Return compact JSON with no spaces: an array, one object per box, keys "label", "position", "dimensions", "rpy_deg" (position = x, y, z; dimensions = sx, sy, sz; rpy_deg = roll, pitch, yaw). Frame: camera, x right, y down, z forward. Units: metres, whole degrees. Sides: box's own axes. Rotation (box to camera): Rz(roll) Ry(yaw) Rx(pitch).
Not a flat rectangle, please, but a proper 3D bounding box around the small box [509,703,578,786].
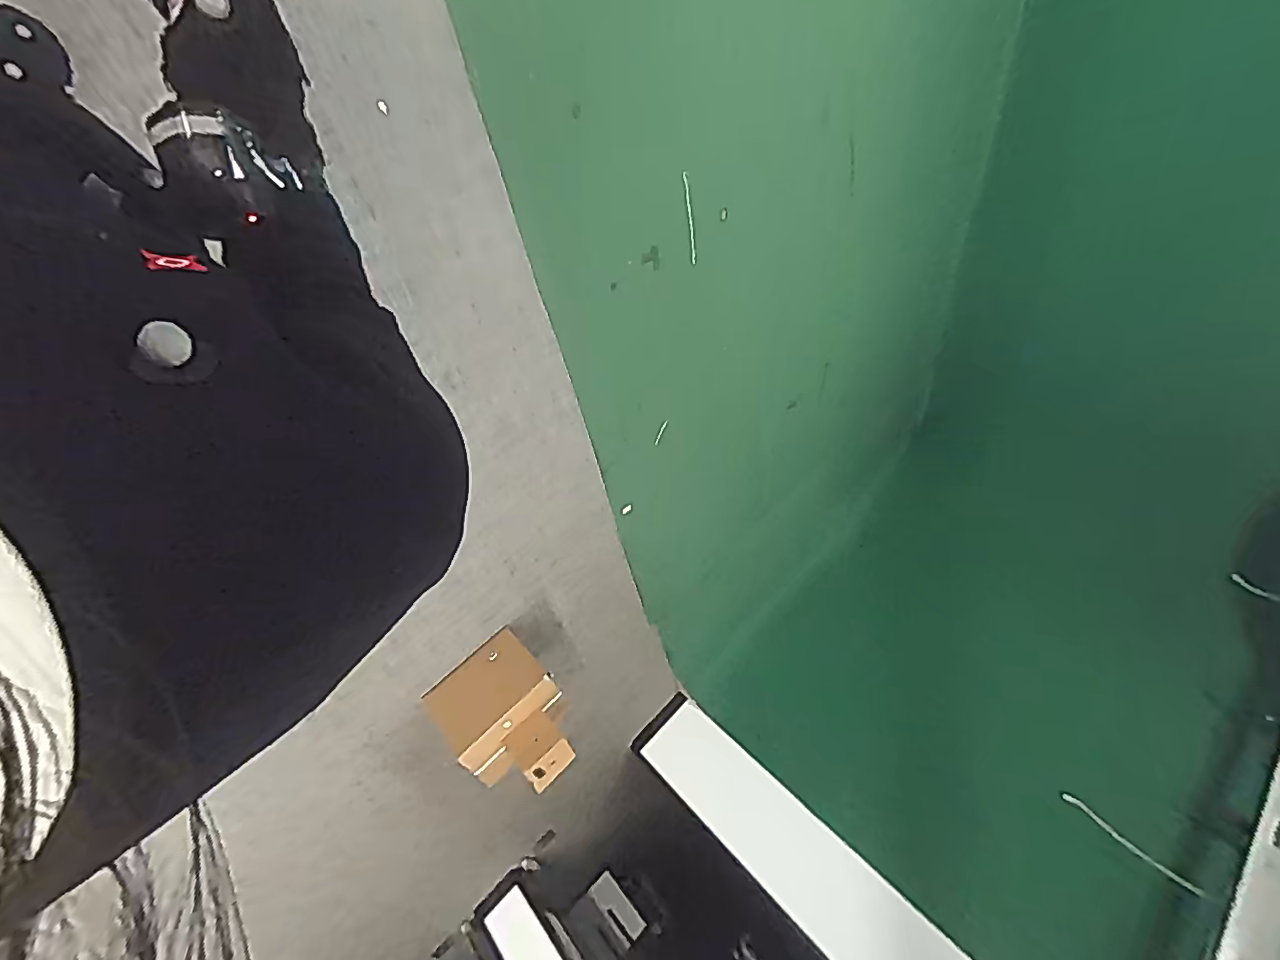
[{"label":"small box","position":[-0.363,0.972,1.997],"dimensions":[0.179,0.176,0.168],"rpy_deg":[-35,133,-27]}]
